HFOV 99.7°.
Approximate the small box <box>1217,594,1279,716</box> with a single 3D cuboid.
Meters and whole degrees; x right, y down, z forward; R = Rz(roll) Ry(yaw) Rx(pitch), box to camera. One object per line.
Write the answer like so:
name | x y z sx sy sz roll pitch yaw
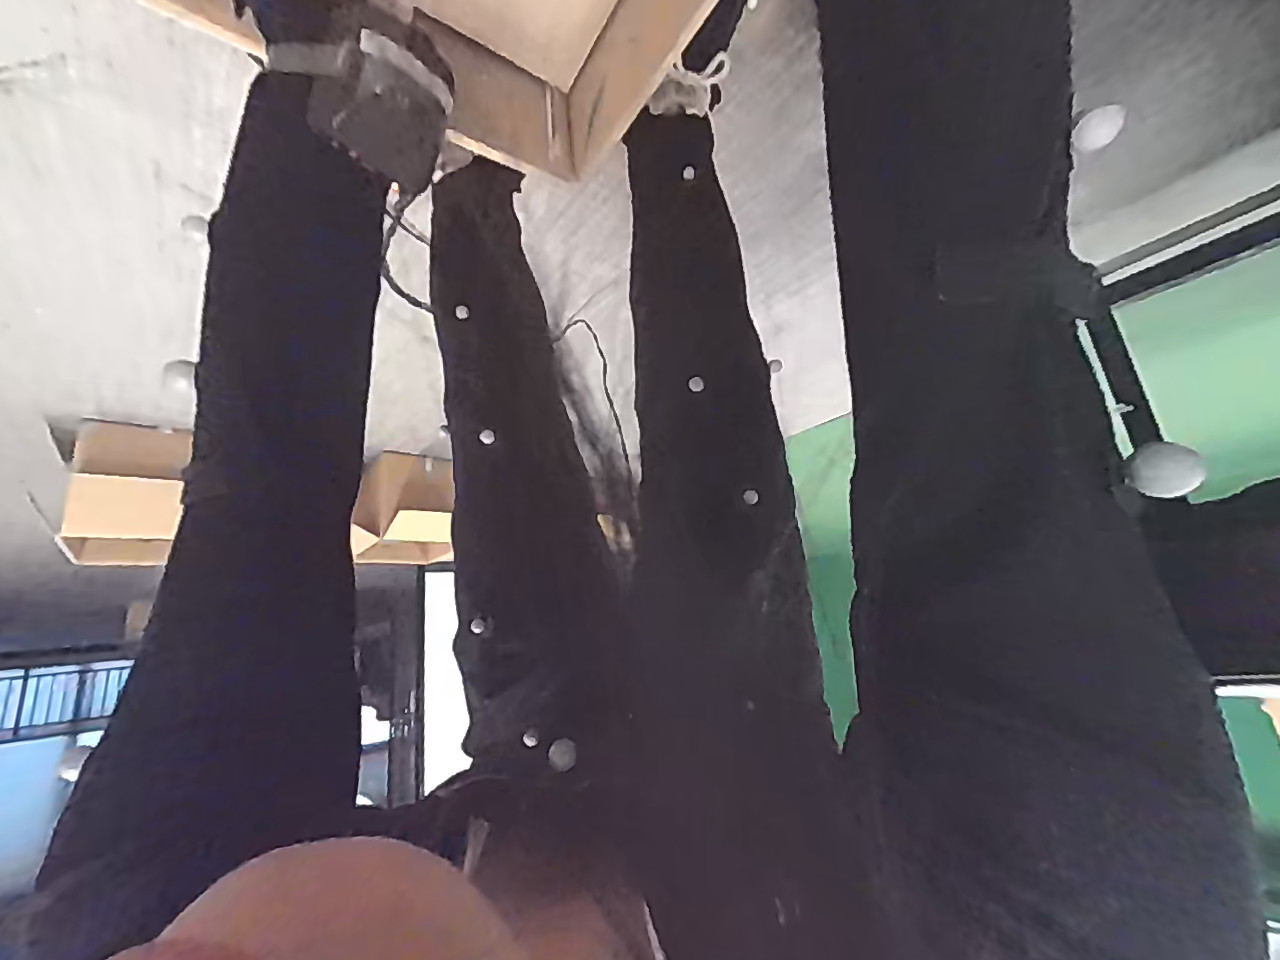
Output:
small box | 1.056 0.262 0.839 0.168 0.176 0.179 10 156 -43
